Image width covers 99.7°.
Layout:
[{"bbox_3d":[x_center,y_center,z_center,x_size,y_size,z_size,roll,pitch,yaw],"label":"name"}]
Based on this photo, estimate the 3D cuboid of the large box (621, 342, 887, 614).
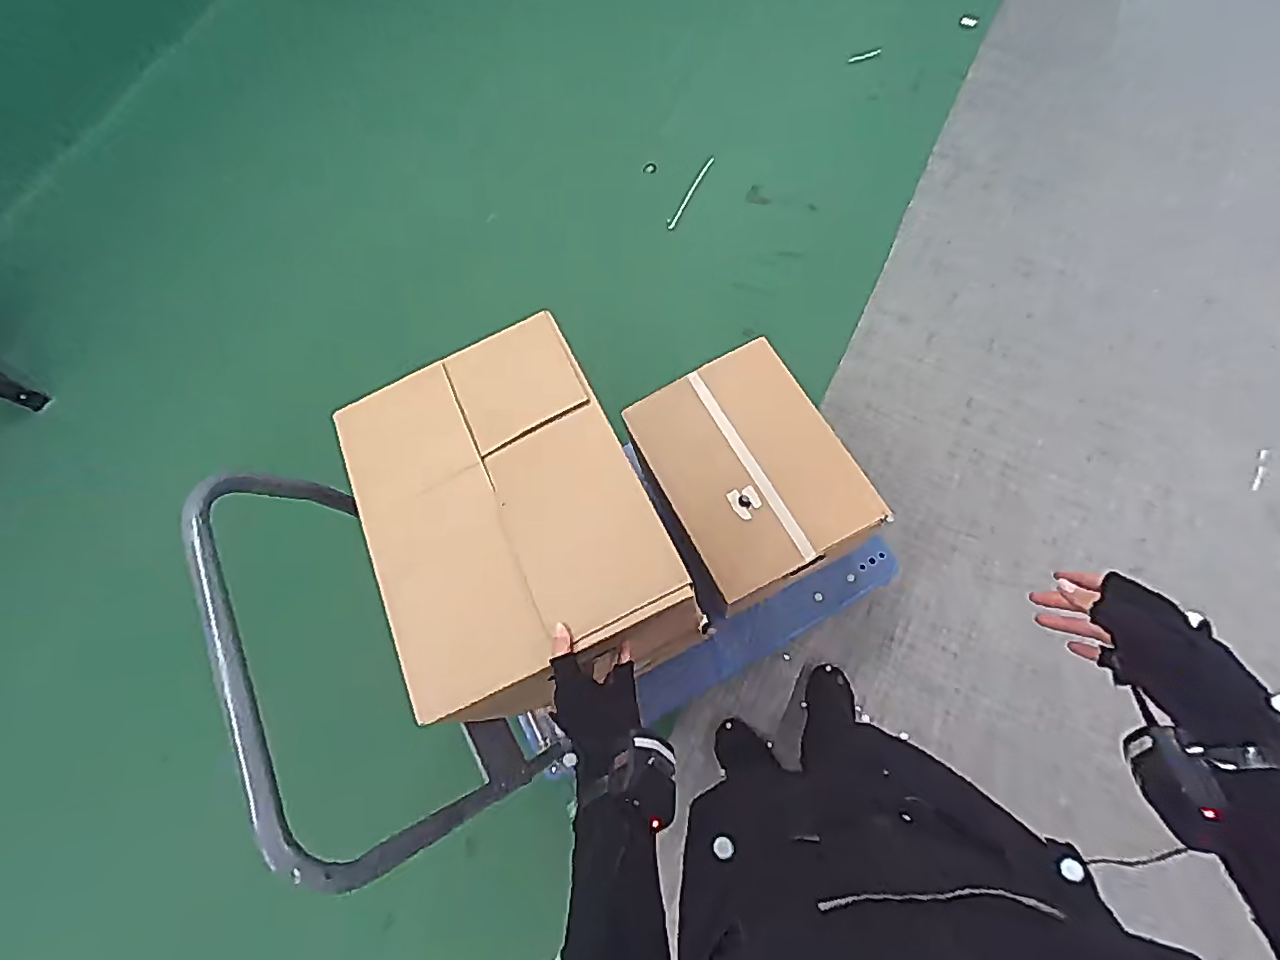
[{"bbox_3d":[0.202,0.012,1.092,0.320,0.320,0.408,-28,71,-2],"label":"large box"}]
